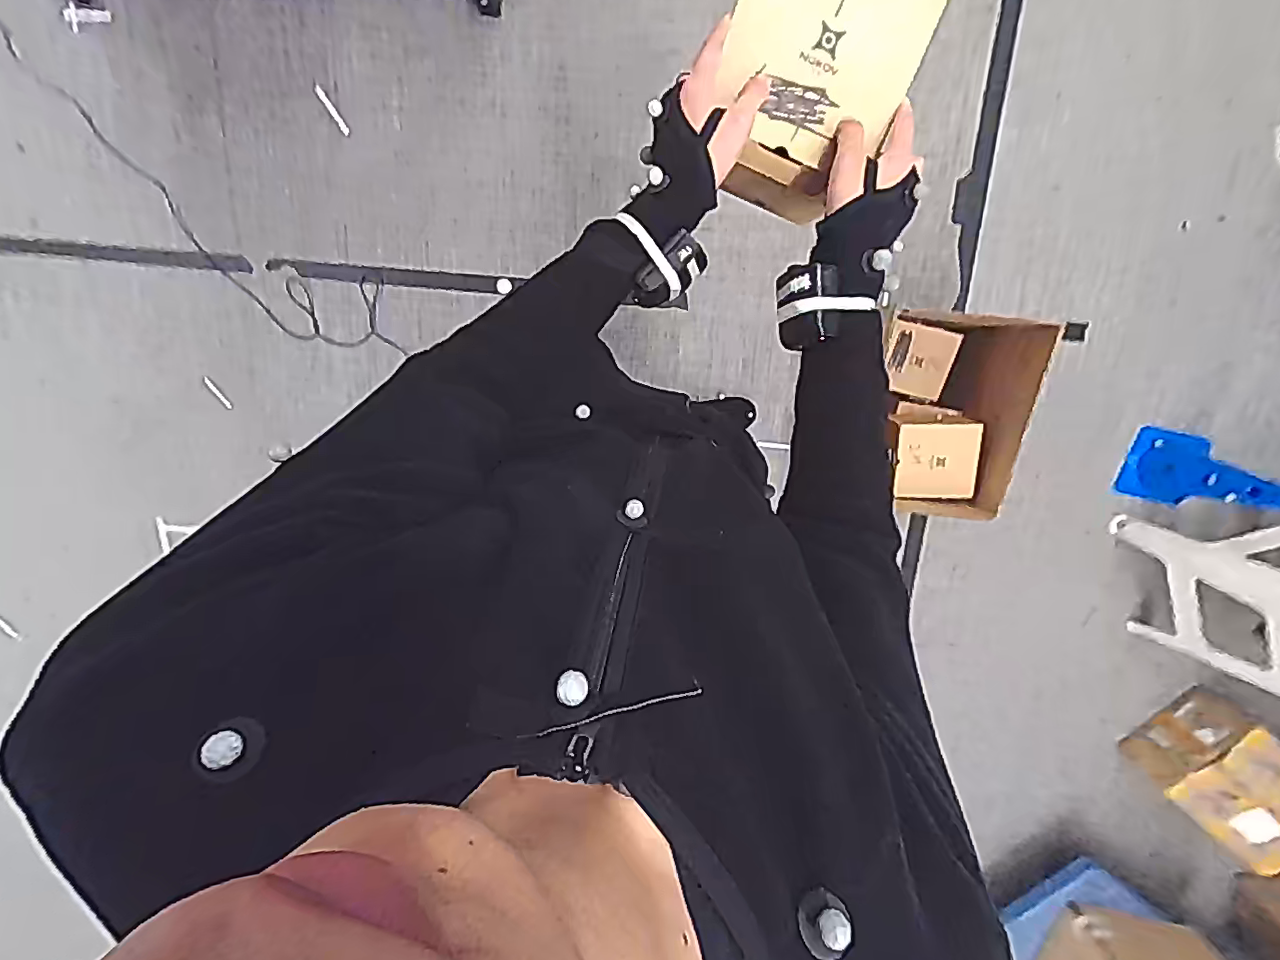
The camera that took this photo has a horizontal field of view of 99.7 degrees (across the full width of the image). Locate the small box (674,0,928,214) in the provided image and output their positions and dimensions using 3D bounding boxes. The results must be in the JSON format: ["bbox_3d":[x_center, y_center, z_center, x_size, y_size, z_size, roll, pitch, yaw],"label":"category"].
[{"bbox_3d":[0.139,-0.391,0.535,0.168,0.176,0.179,20,104,-7],"label":"small box"}]
